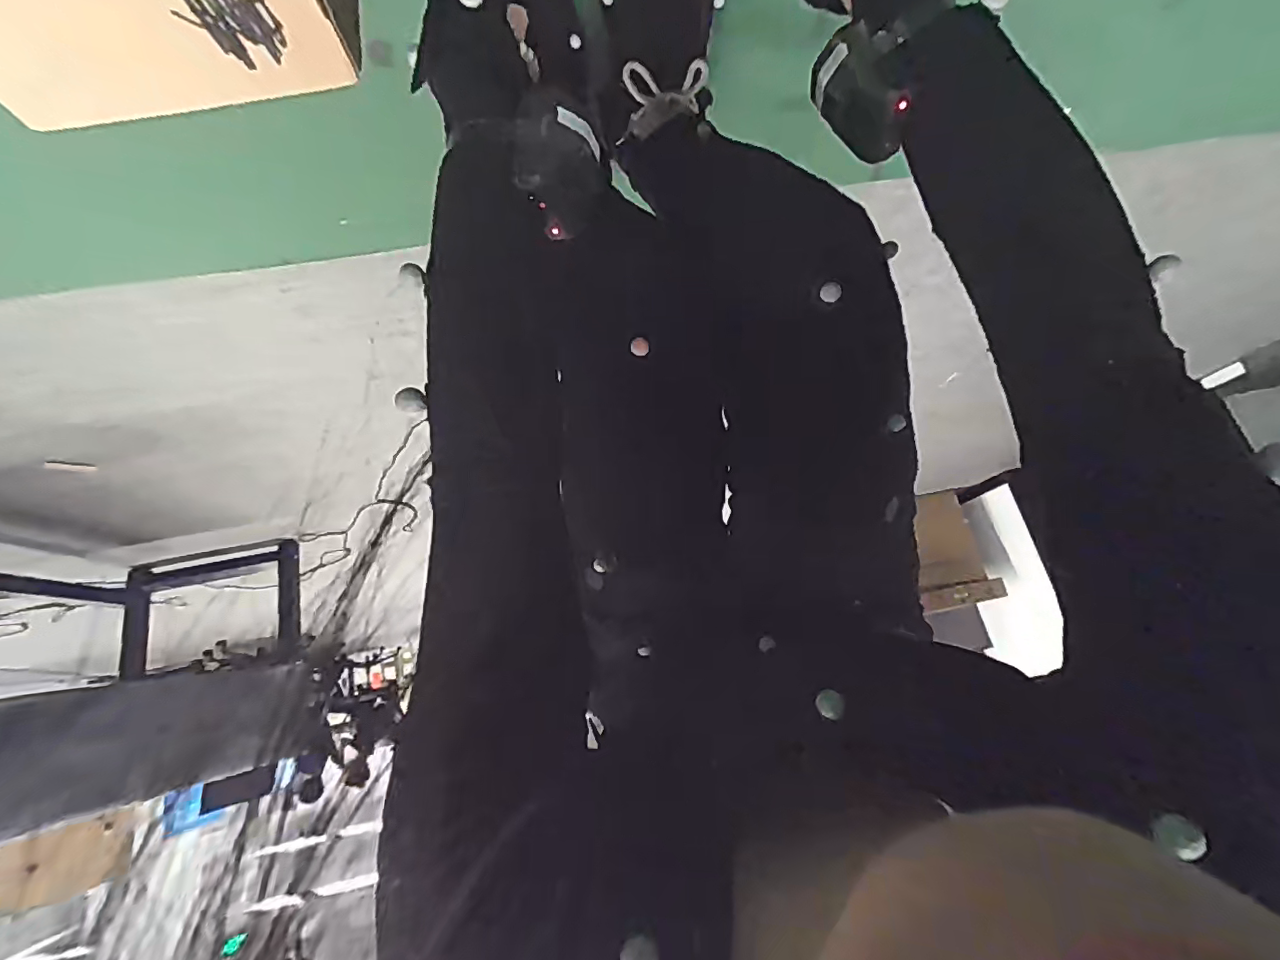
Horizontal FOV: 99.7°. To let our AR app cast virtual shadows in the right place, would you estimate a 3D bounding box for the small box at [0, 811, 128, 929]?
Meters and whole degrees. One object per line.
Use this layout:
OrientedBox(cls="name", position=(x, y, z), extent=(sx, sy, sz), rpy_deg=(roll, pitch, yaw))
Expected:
OrientedBox(cls="small box", position=(-1.312, 0.870, 1.218), extent=(0.179, 0.176, 0.168), rpy_deg=(-10, 161, -6))
